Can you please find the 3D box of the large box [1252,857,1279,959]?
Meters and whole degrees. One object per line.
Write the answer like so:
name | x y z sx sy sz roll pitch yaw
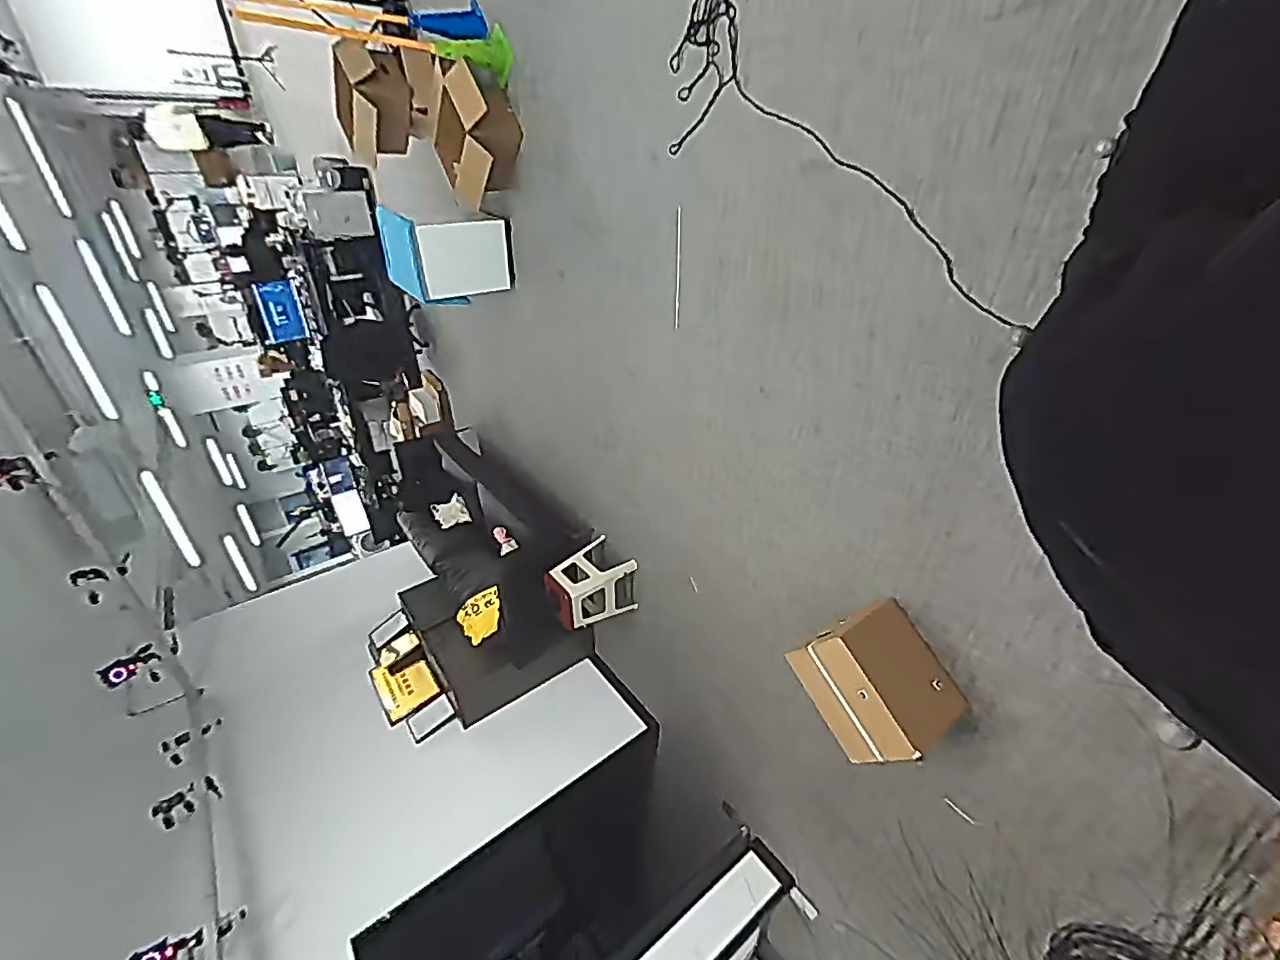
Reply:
large box | 1.475 0.955 1.011 0.408 0.320 0.320 18 124 51
